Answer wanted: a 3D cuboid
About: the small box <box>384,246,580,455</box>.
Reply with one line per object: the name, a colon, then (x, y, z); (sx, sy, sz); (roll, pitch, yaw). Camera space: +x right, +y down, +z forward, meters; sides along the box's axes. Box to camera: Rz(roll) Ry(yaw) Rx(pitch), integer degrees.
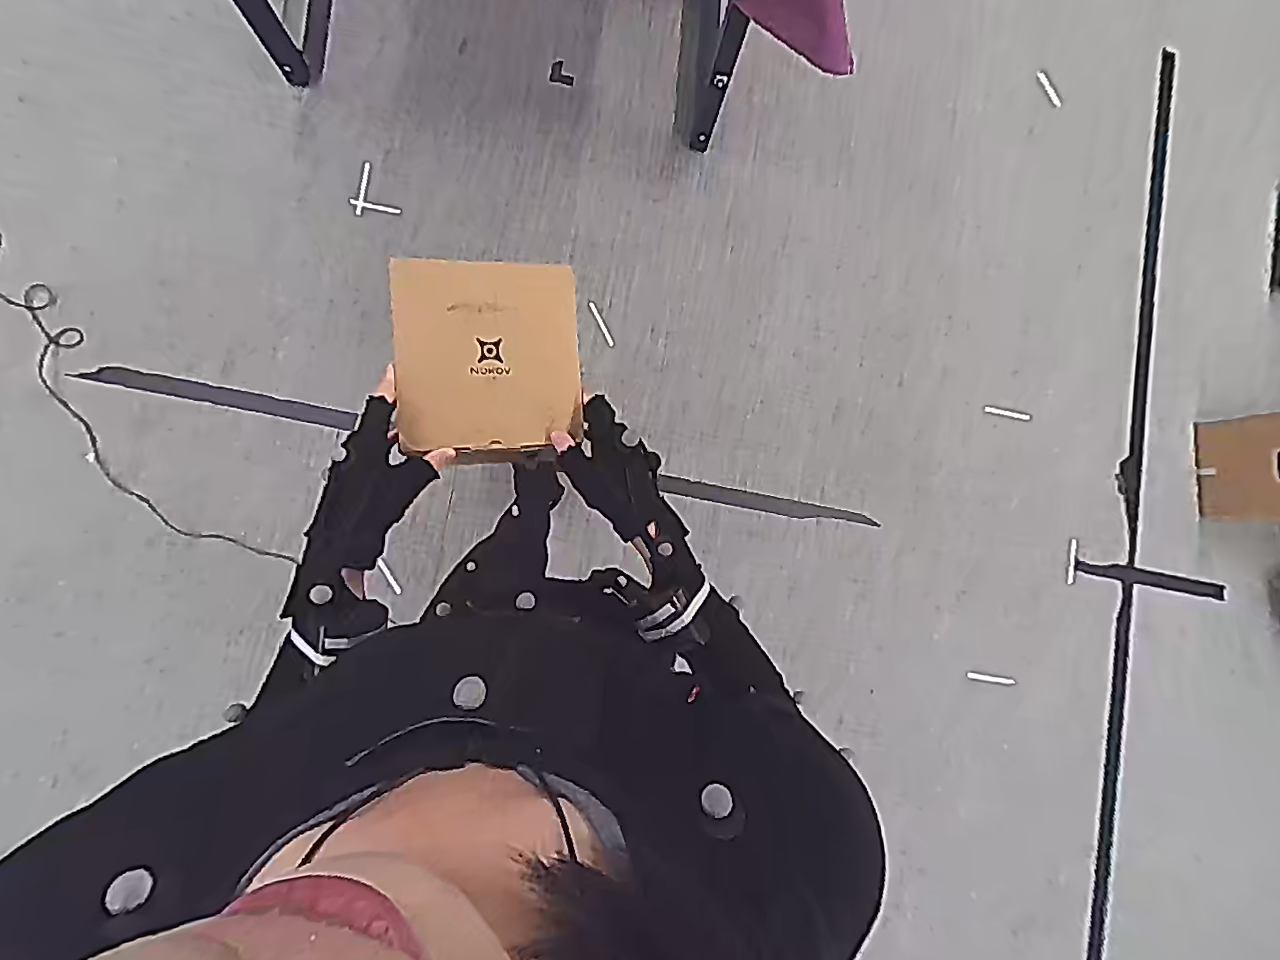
small box: (-0.158, -0.118, 0.562); (0.168, 0.176, 0.179); (-4, 88, -15)
